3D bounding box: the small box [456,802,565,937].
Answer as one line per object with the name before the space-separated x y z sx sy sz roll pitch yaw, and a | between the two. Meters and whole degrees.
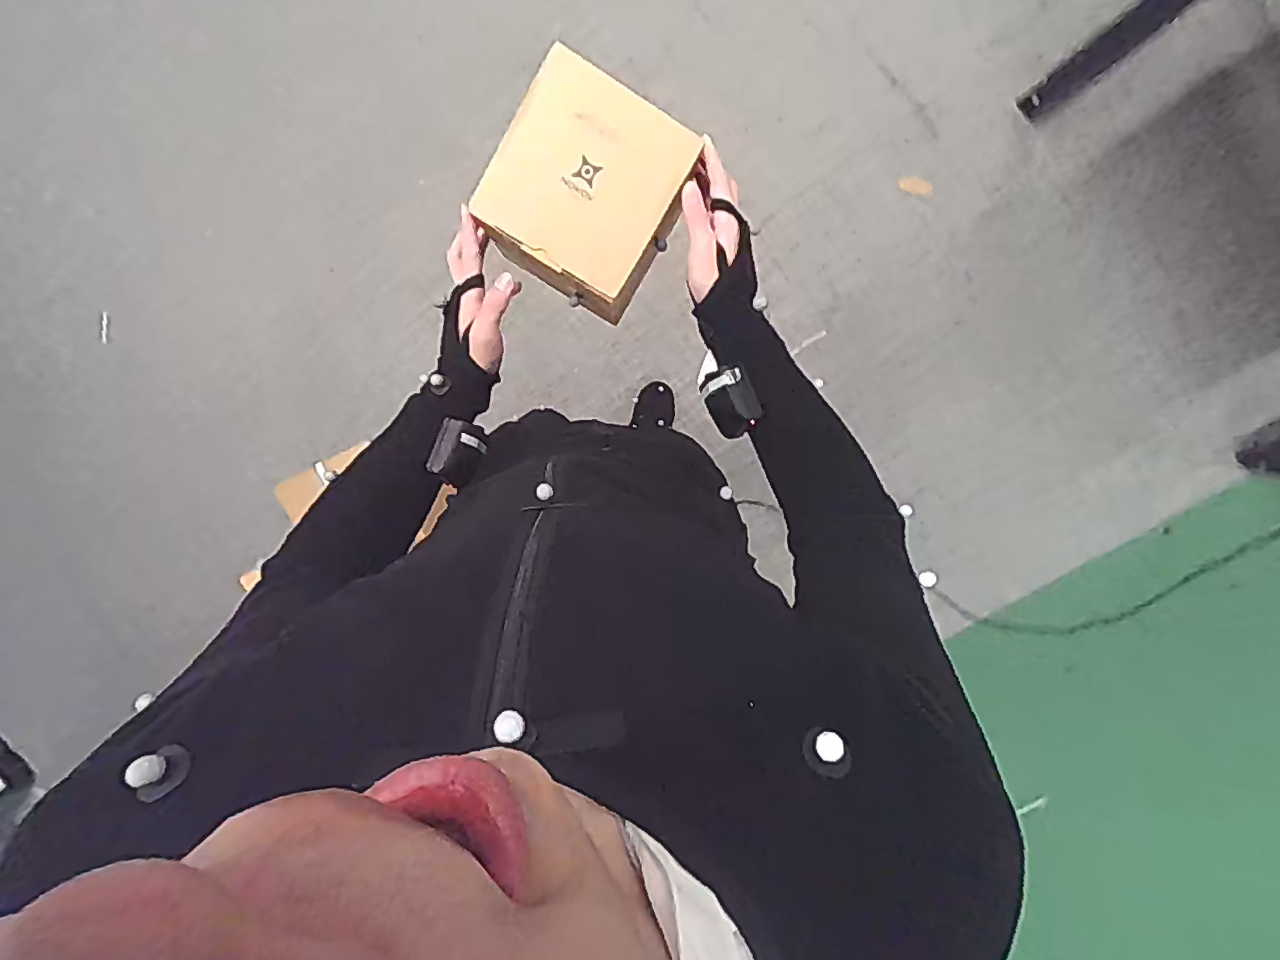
small box | -0.297 0.913 1.283 0.179 0.176 0.168 29 103 -2
